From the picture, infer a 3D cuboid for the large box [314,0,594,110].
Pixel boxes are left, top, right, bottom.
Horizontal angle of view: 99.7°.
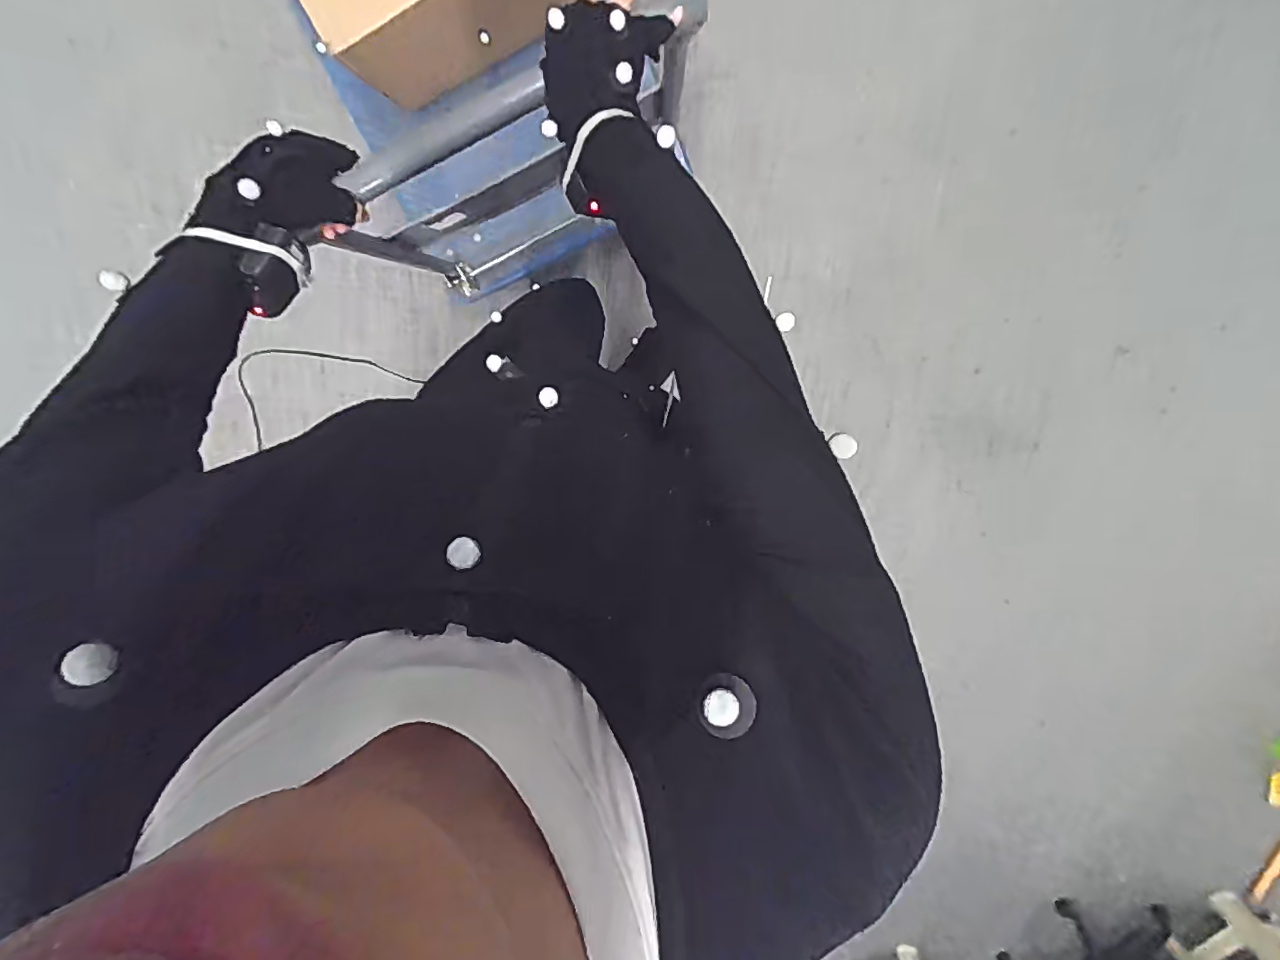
[{"bbox_3d":[-0.320,-0.883,0.856,0.408,0.320,0.320,-25,108,9],"label":"large box"}]
